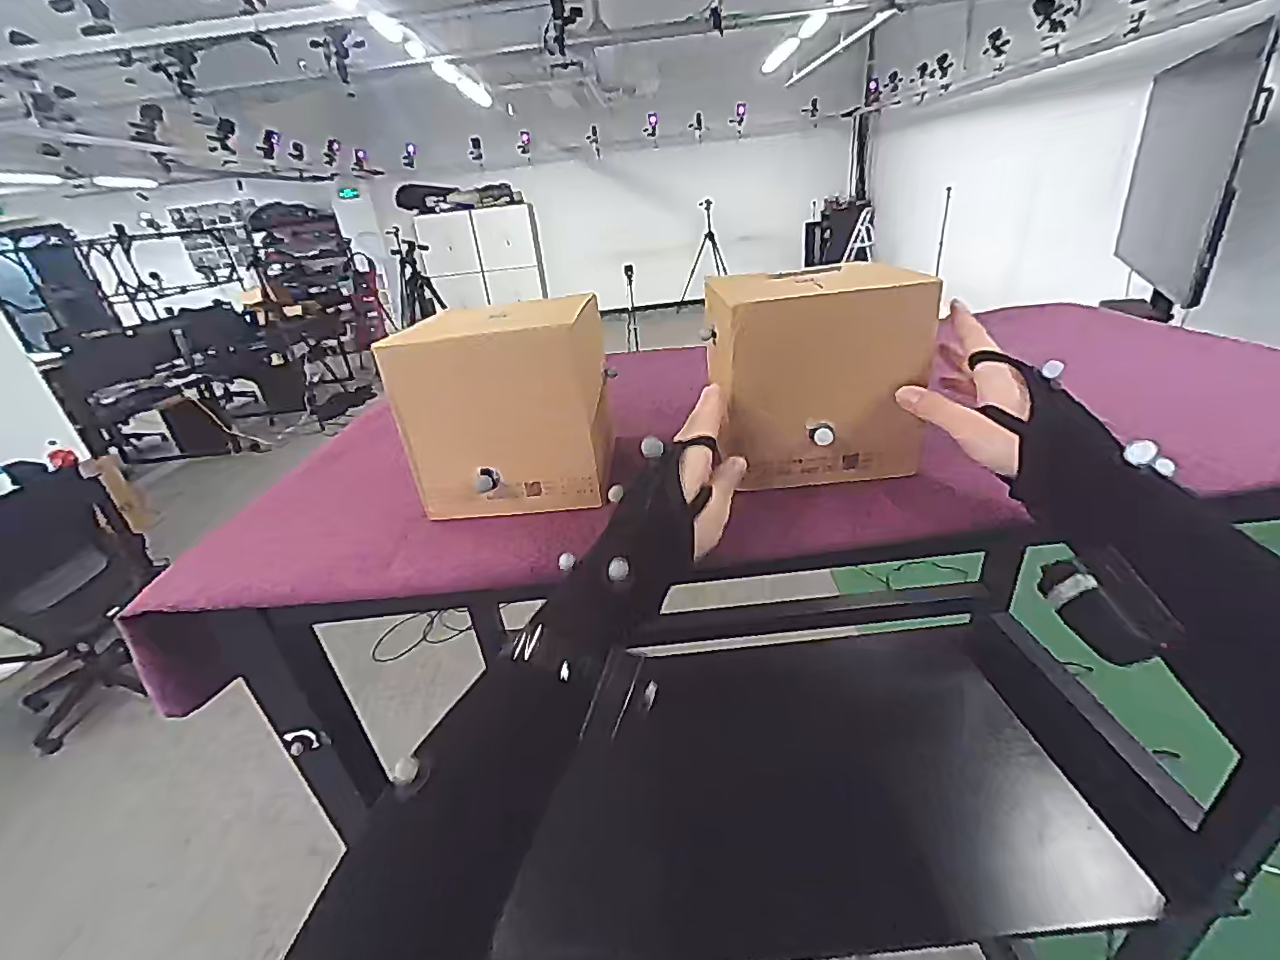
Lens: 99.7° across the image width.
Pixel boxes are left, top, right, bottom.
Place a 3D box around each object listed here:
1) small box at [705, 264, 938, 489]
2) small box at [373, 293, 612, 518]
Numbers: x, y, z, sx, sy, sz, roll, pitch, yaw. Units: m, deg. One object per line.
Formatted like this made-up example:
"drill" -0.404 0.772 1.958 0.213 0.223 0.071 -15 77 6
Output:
"small box" 0.153 -0.105 0.522 0.168 0.176 0.179 -5 27 3
"small box" -0.122 -0.079 0.533 0.168 0.176 0.179 -5 27 5
